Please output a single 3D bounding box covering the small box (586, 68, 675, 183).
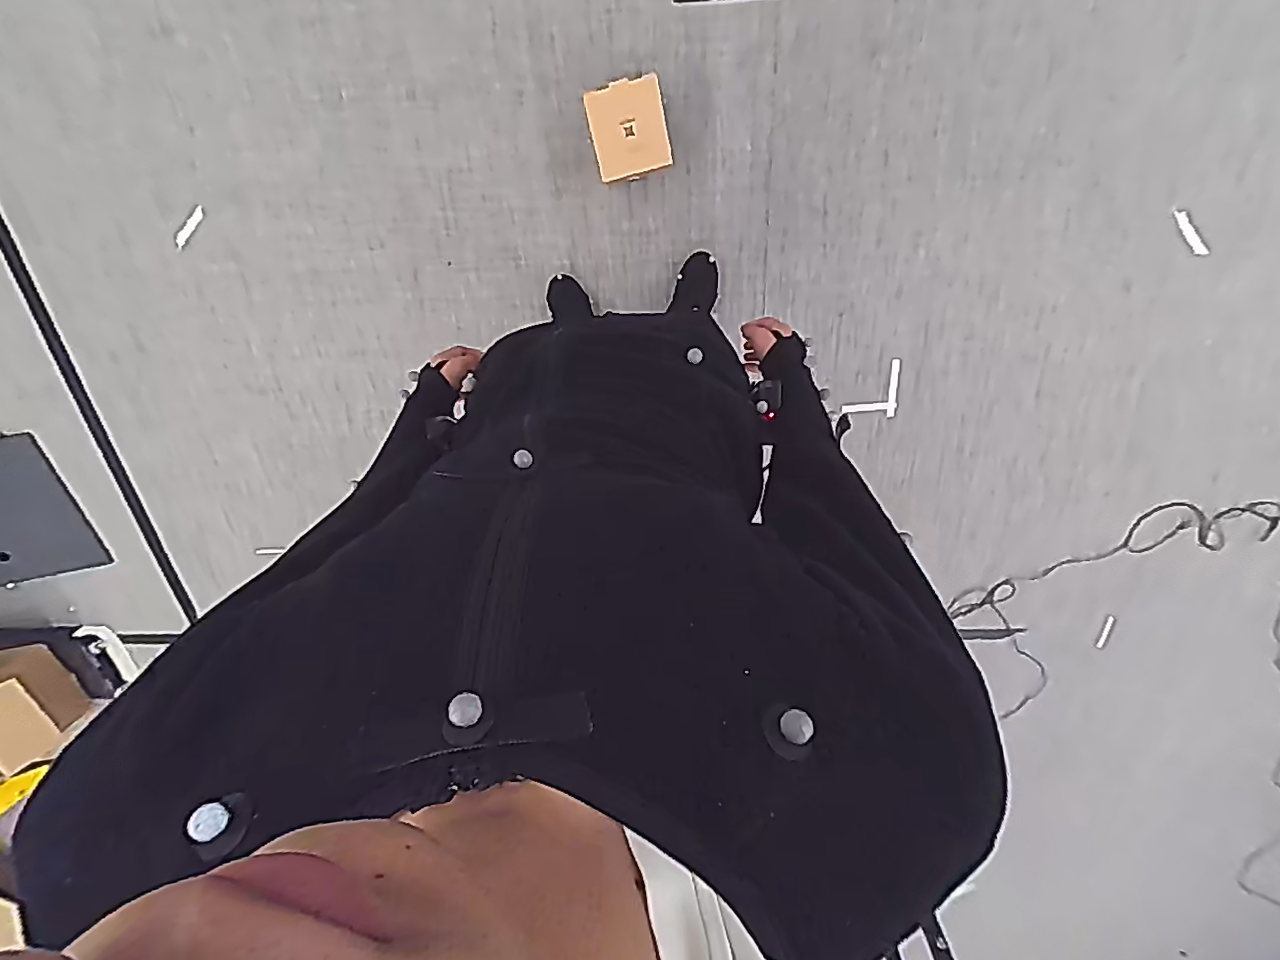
[{"bbox_3d":[-0.017,-0.803,1.243,0.168,0.176,0.179,-11,115,8],"label":"small box"}]
